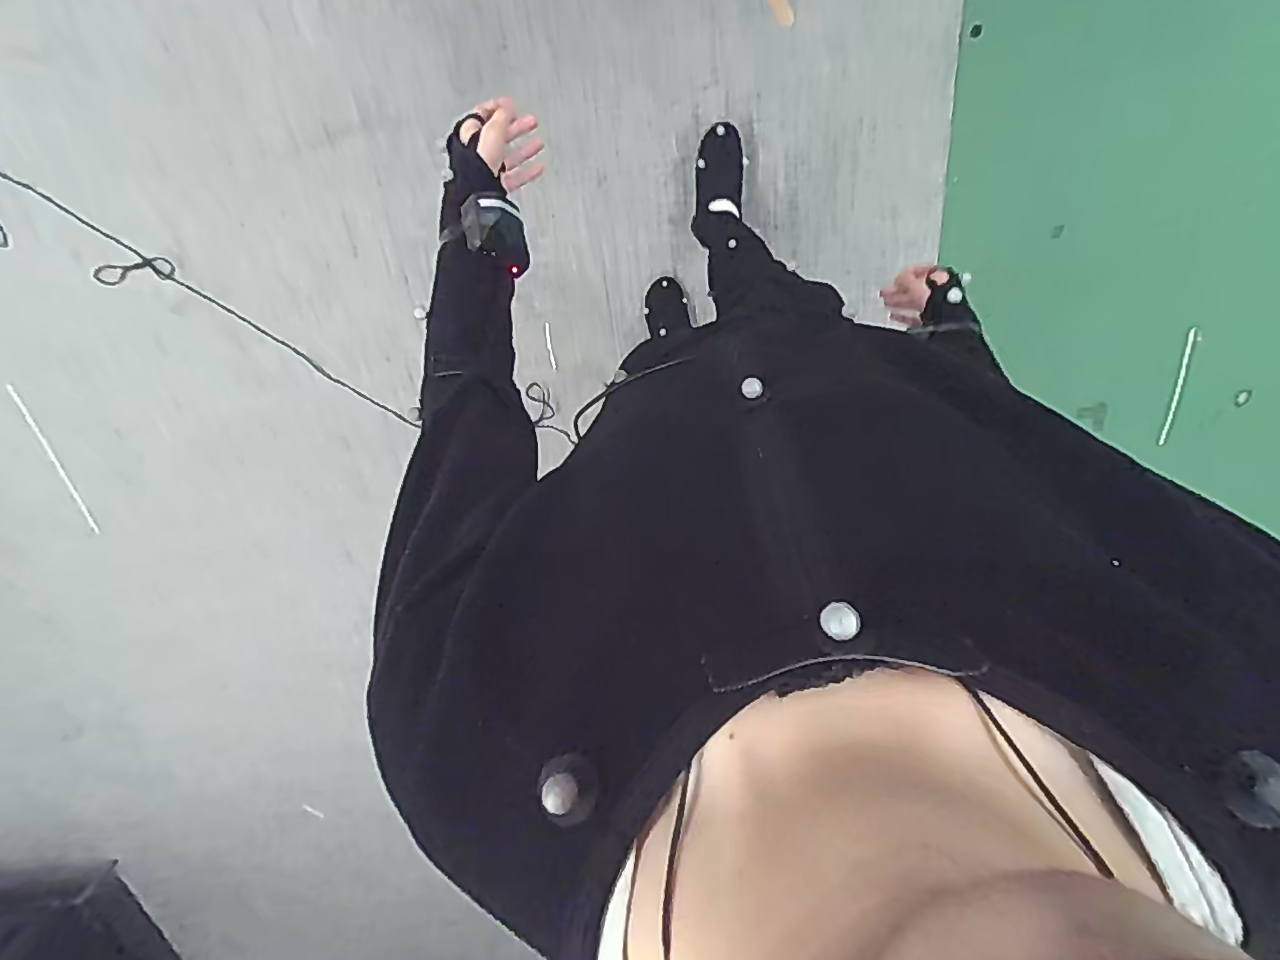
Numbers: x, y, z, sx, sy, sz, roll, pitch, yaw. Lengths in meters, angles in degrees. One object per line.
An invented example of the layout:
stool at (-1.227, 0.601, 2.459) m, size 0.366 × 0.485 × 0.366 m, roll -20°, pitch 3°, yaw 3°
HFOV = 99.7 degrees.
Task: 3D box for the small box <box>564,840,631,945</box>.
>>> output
small box at (-0.113, 1.126, 1.484) m, size 0.168 × 0.176 × 0.179 m, roll 5°, pitch 112°, yaw -2°
